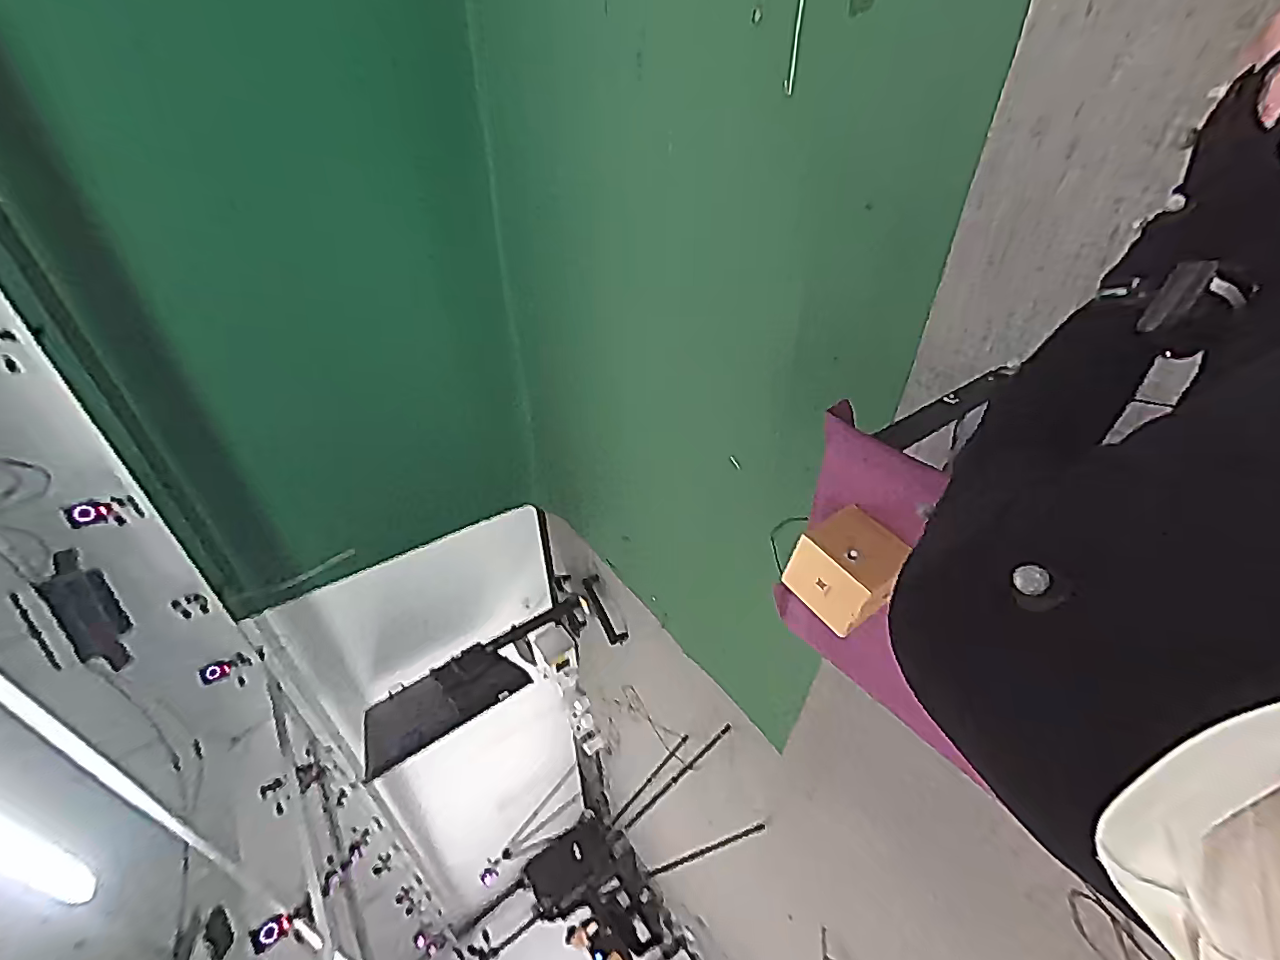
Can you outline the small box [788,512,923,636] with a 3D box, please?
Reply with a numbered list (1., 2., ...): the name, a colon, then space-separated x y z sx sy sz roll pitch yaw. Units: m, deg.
1. small box: 0.453 0.189 1.147 0.179 0.176 0.168 45 145 33
